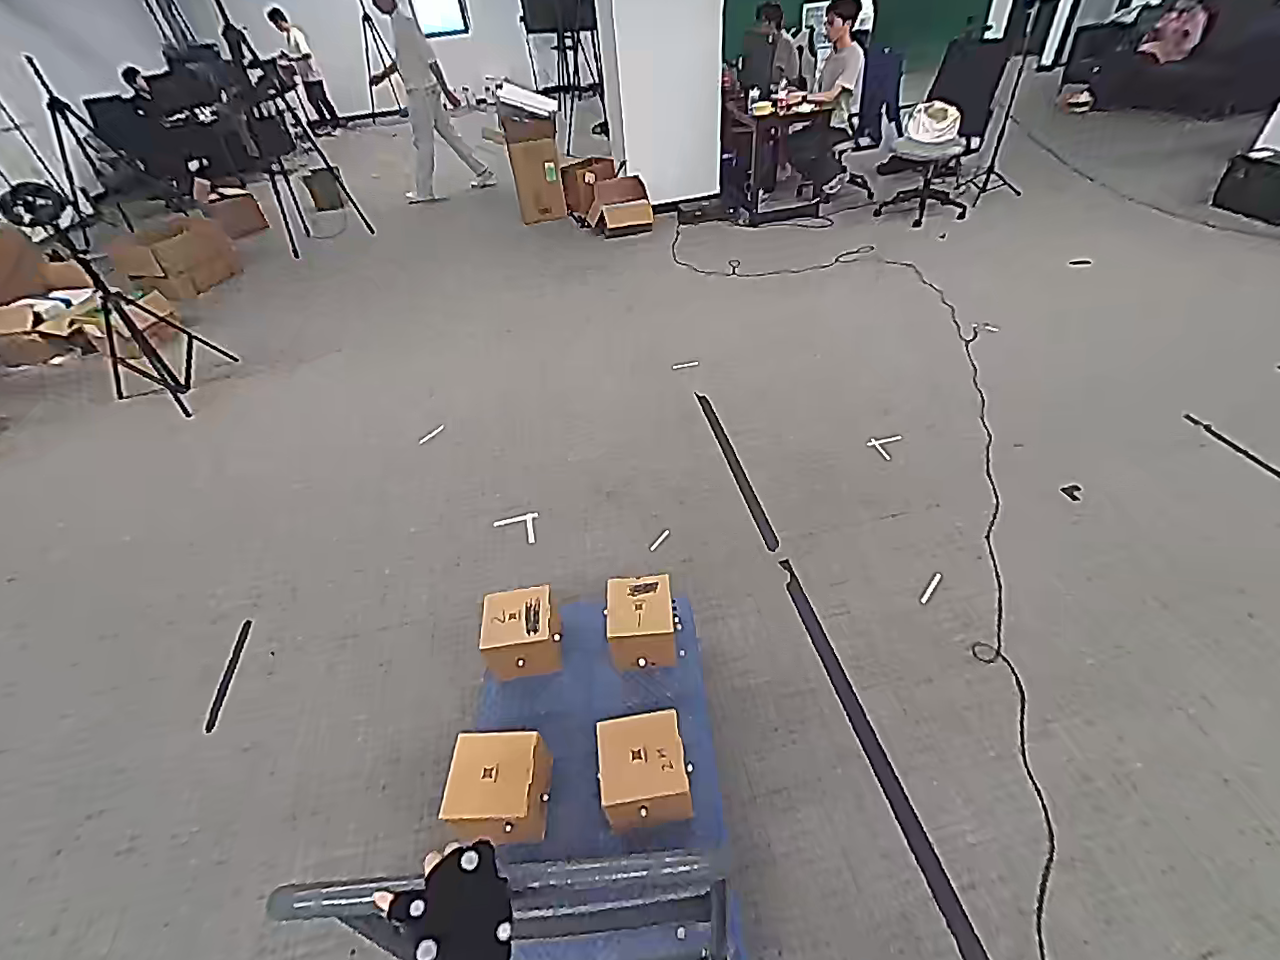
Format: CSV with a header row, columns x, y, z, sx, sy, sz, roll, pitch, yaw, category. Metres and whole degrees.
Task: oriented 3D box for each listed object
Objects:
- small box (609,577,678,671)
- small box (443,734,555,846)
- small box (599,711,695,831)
x,y,z,sx,sy,sz,roll,pitch,yaw,category
0.011,0.380,1.425,0.168,0.176,0.179,-6,43,2,small box
-0.291,0.664,1.156,0.179,0.176,0.168,-3,41,2,small box
0.016,0.624,1.154,0.179,0.176,0.168,-9,42,-1,small box
